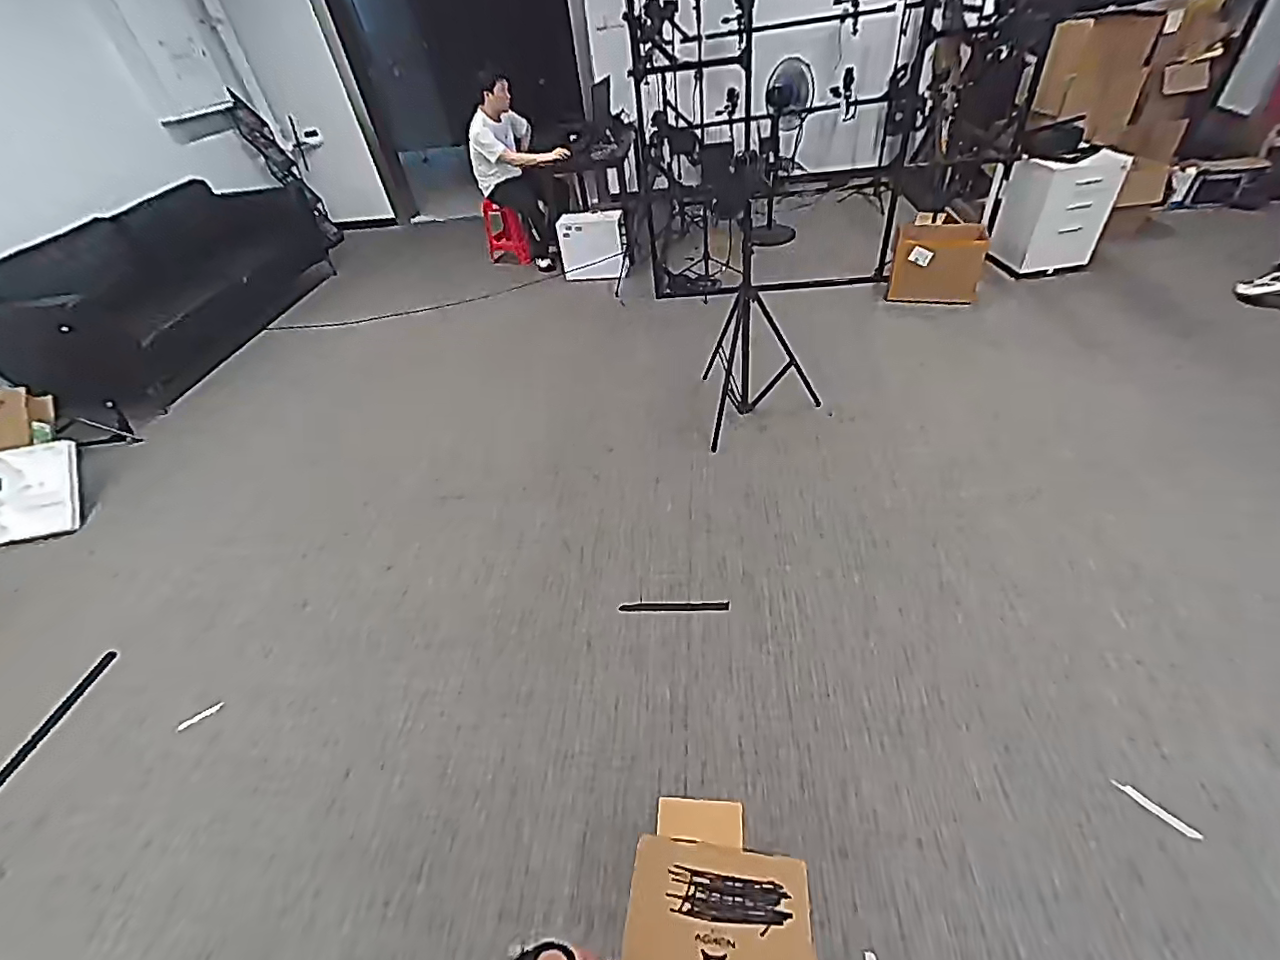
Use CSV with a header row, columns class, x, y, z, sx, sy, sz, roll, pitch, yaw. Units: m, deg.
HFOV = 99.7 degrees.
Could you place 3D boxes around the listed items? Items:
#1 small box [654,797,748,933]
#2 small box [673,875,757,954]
class,x,y,z,sx,sy,sz,roll,pitch,yaw
small box,0.121,0.750,1.055,0.168,0.176,0.179,-1,42,8
small box,0.145,0.875,1.157,0.168,0.176,0.179,-10,41,0
